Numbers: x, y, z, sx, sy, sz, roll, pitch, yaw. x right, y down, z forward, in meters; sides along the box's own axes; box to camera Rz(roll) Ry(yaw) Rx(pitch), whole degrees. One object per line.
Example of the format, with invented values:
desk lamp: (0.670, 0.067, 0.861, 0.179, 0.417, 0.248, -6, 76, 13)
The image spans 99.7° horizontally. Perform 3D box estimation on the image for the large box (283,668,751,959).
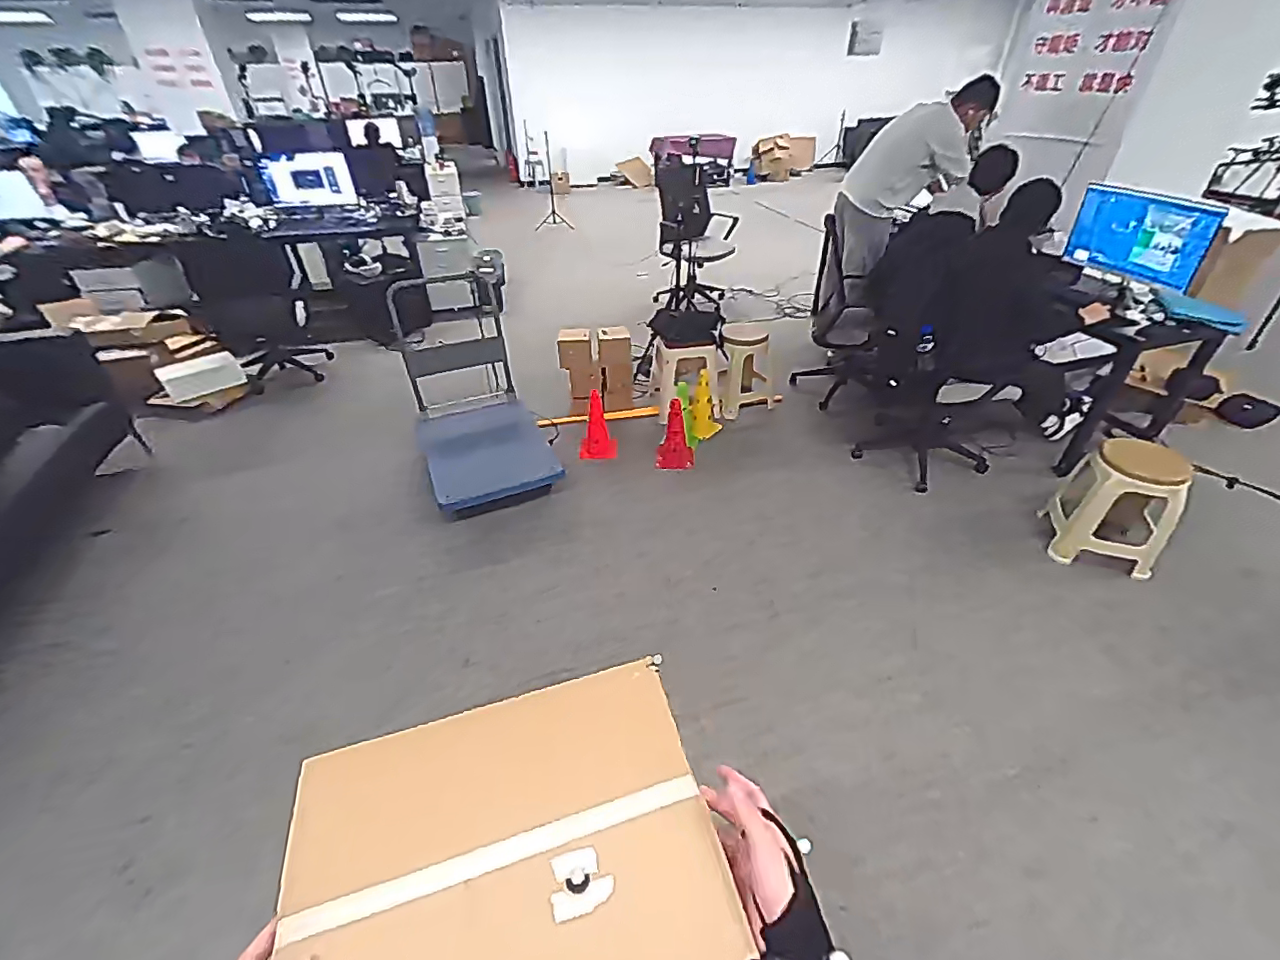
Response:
large box: (-0.132, 0.489, 0.630, 0.408, 0.320, 0.320, -13, 43, -13)
